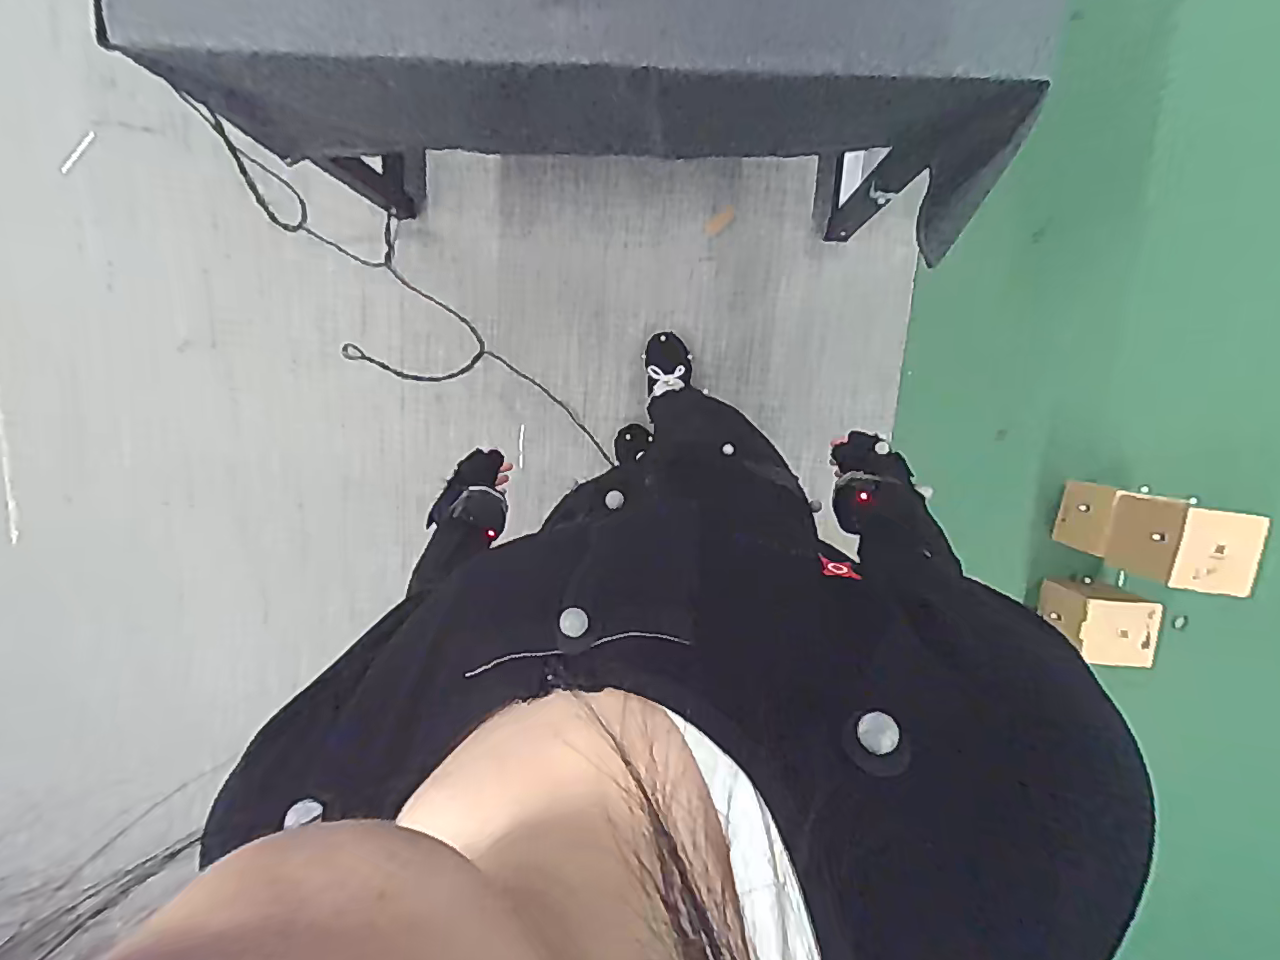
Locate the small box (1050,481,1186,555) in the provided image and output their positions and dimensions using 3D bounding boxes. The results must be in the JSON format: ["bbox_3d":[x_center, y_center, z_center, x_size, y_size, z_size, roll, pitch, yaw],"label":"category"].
[{"bbox_3d":[1.185,0.102,1.357,0.179,0.176,0.168,9,98,1],"label":"small box"}]

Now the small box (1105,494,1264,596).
[{"bbox_3d":[1.187,0.135,1.195,0.168,0.176,0.179,8,98,1],"label":"small box"}]

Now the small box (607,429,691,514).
[{"bbox_3d":[0.022,-0.026,1.415,0.179,0.176,0.168,13,111,17],"label":"small box"}]
